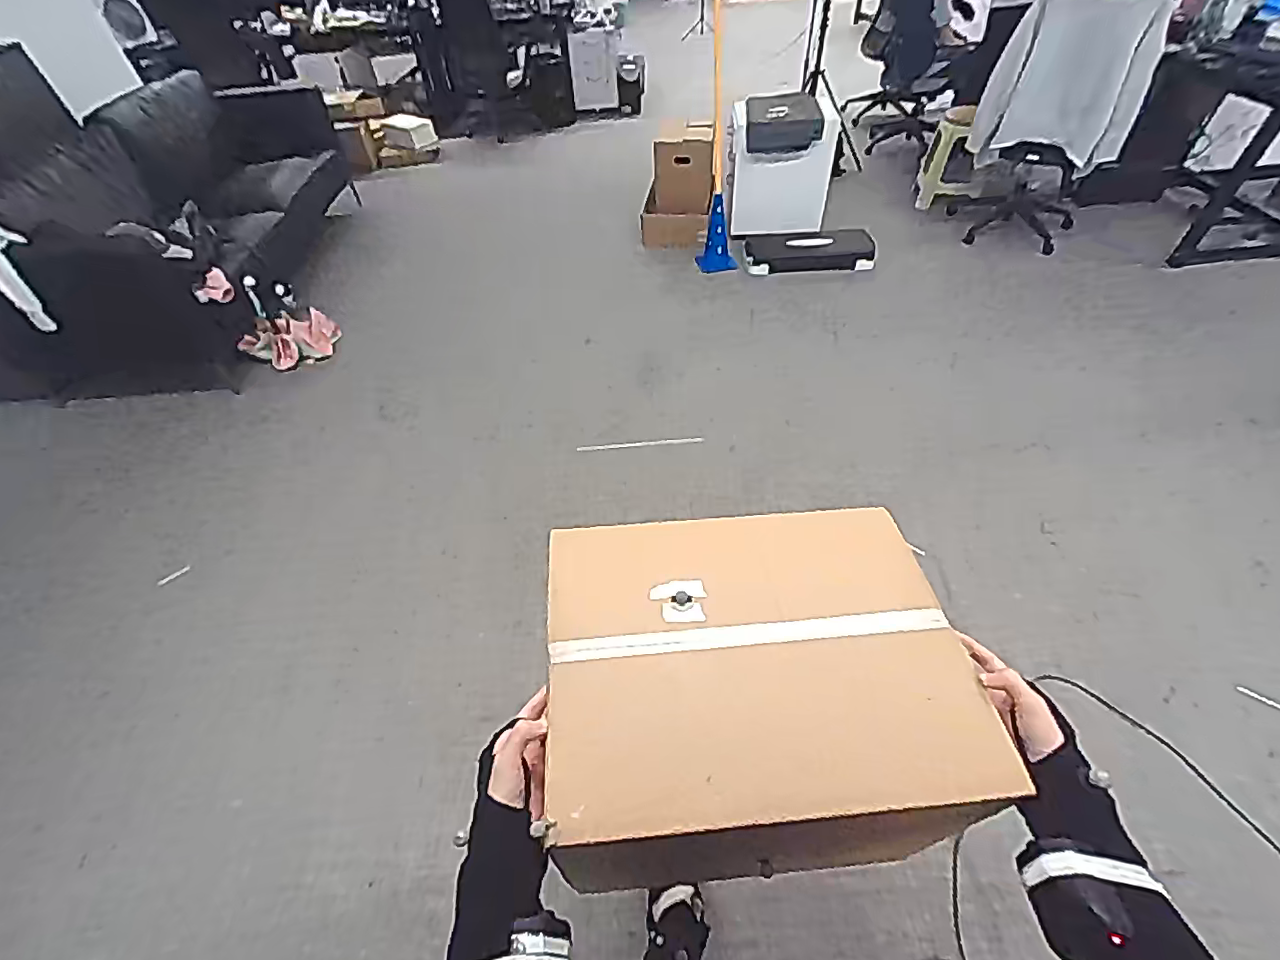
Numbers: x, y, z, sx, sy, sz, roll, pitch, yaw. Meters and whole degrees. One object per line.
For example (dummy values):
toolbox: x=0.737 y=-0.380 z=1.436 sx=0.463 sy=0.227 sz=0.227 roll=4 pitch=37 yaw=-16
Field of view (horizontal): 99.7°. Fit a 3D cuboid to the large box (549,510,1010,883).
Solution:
large box: x=0.112 y=0.265 z=0.659 sx=0.408 sy=0.320 sz=0.320 roll=-4 pitch=47 yaw=-3
